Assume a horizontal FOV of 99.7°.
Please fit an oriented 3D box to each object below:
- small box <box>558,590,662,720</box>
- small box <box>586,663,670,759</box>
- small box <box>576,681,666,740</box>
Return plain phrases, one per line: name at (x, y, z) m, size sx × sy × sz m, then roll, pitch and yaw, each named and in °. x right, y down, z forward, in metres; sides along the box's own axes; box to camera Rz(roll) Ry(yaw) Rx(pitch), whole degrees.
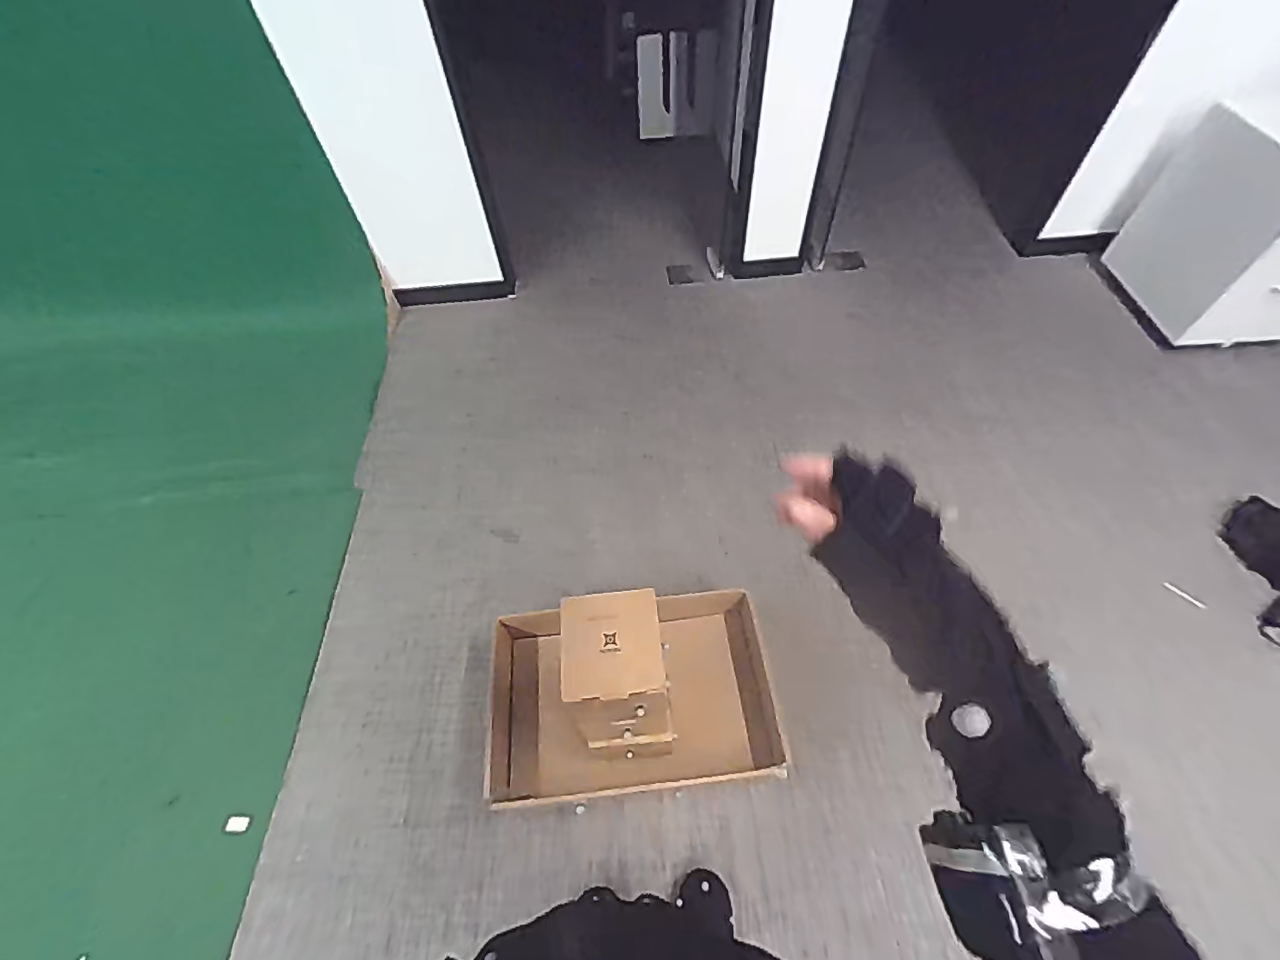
small box at (-0.051, 0.315, 0.956) m, size 0.168 × 0.176 × 0.179 m, roll -6°, pitch 53°, yaw -2°
small box at (-0.025, 0.525, 1.225) m, size 0.179 × 0.176 × 0.168 m, roll -5°, pitch 53°, yaw 2°
small box at (-0.041, 0.419, 1.104) m, size 0.168 × 0.176 × 0.179 m, roll -9°, pitch 54°, yaw -1°
